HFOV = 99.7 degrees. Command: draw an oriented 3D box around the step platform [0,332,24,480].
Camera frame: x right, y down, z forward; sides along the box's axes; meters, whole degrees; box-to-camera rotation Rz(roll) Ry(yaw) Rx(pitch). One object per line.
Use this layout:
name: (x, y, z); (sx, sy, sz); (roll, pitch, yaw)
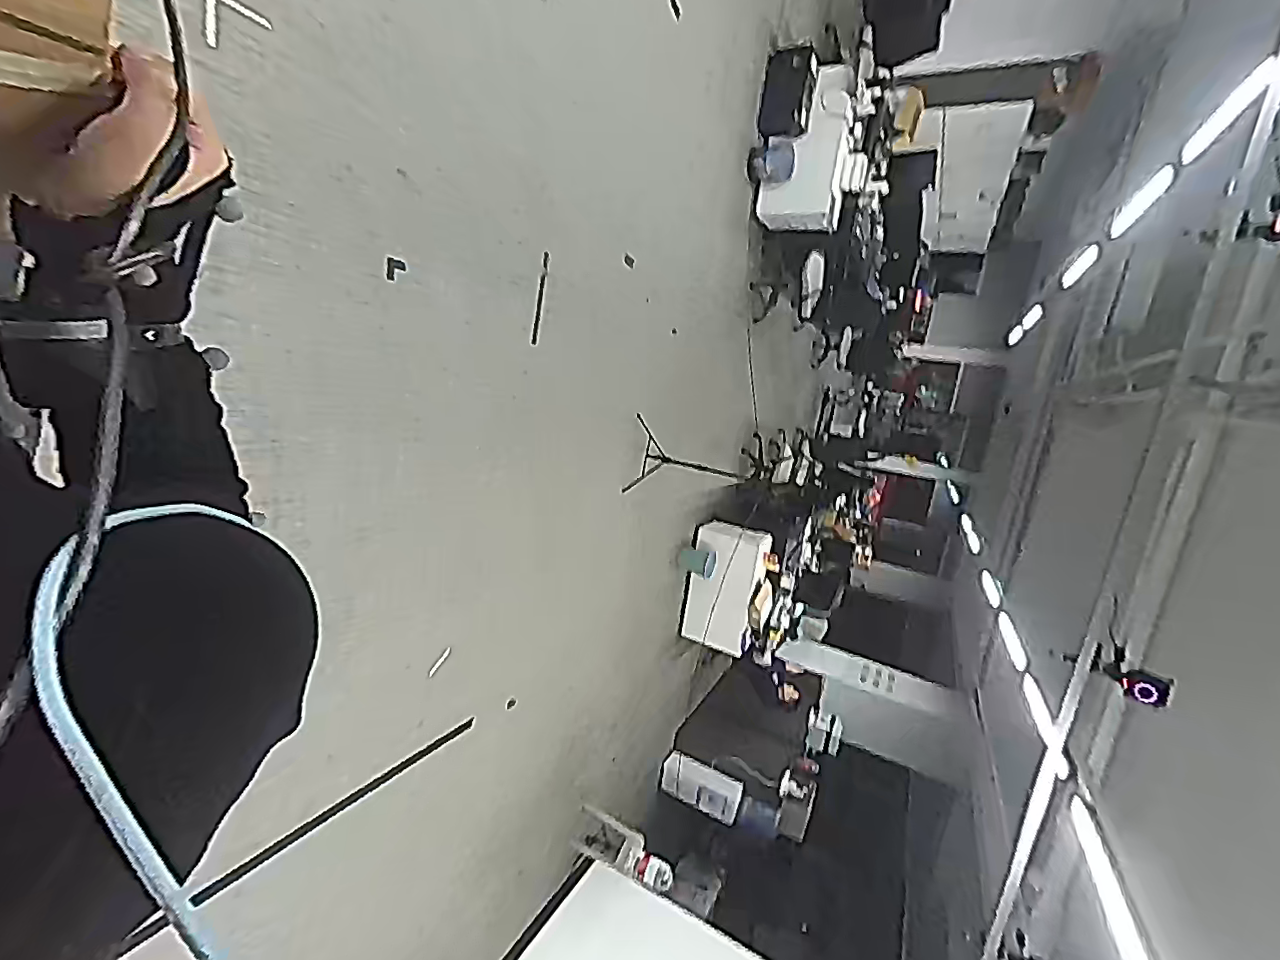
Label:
step platform: (-1.317, -0.141, 0.701); (0.684, 0.204, 0.286); (4, 98, -62)
